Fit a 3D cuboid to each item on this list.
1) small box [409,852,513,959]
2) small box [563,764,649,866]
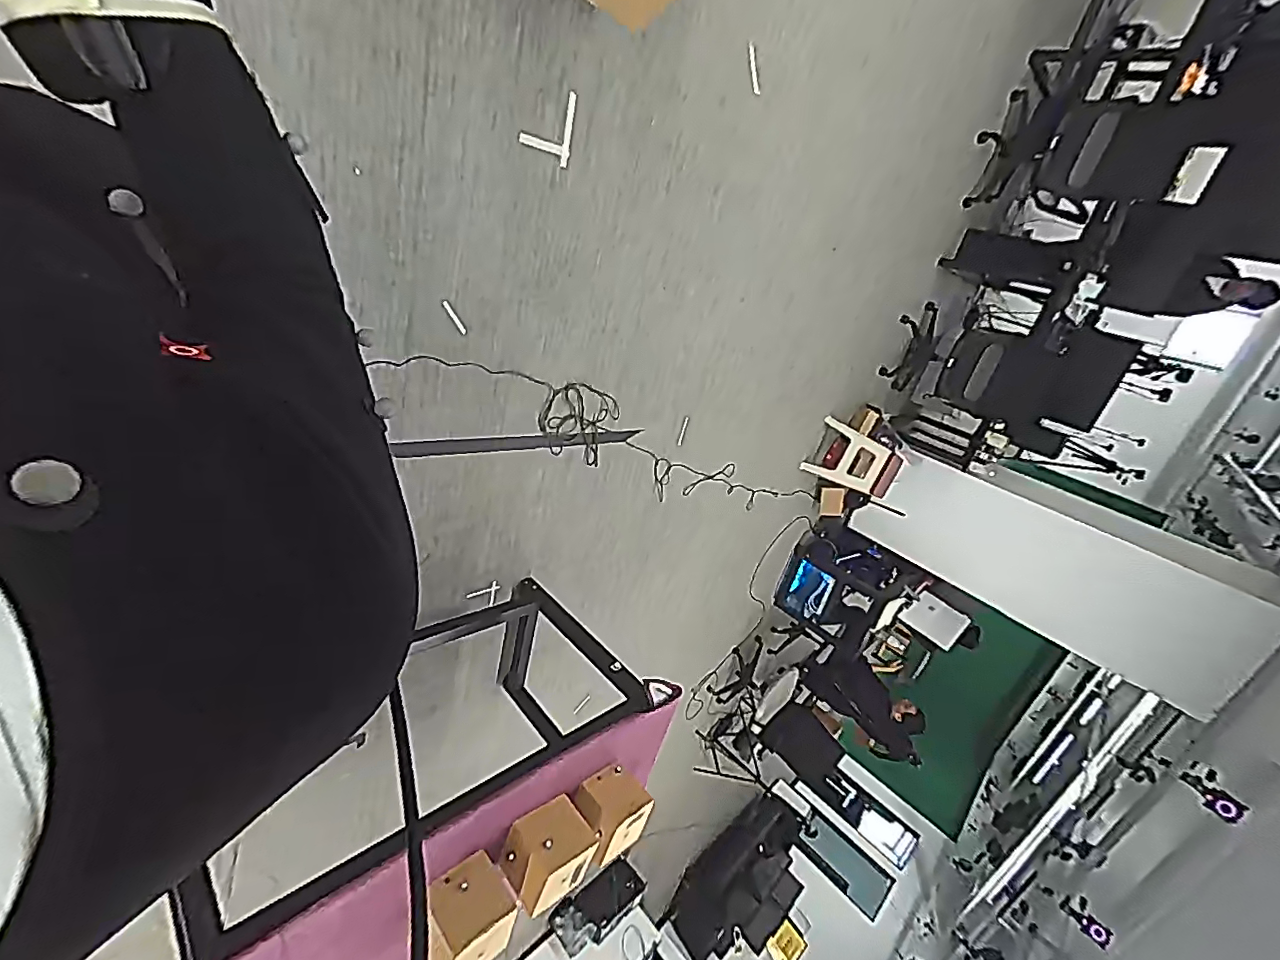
[{"bbox_3d":[-0.430,1.041,1.281,0.168,0.176,0.179,-9,123,-47],"label":"small box"},{"bbox_3d":[-0.107,0.996,1.631,0.168,0.176,0.179,-2,118,-49],"label":"small box"}]
